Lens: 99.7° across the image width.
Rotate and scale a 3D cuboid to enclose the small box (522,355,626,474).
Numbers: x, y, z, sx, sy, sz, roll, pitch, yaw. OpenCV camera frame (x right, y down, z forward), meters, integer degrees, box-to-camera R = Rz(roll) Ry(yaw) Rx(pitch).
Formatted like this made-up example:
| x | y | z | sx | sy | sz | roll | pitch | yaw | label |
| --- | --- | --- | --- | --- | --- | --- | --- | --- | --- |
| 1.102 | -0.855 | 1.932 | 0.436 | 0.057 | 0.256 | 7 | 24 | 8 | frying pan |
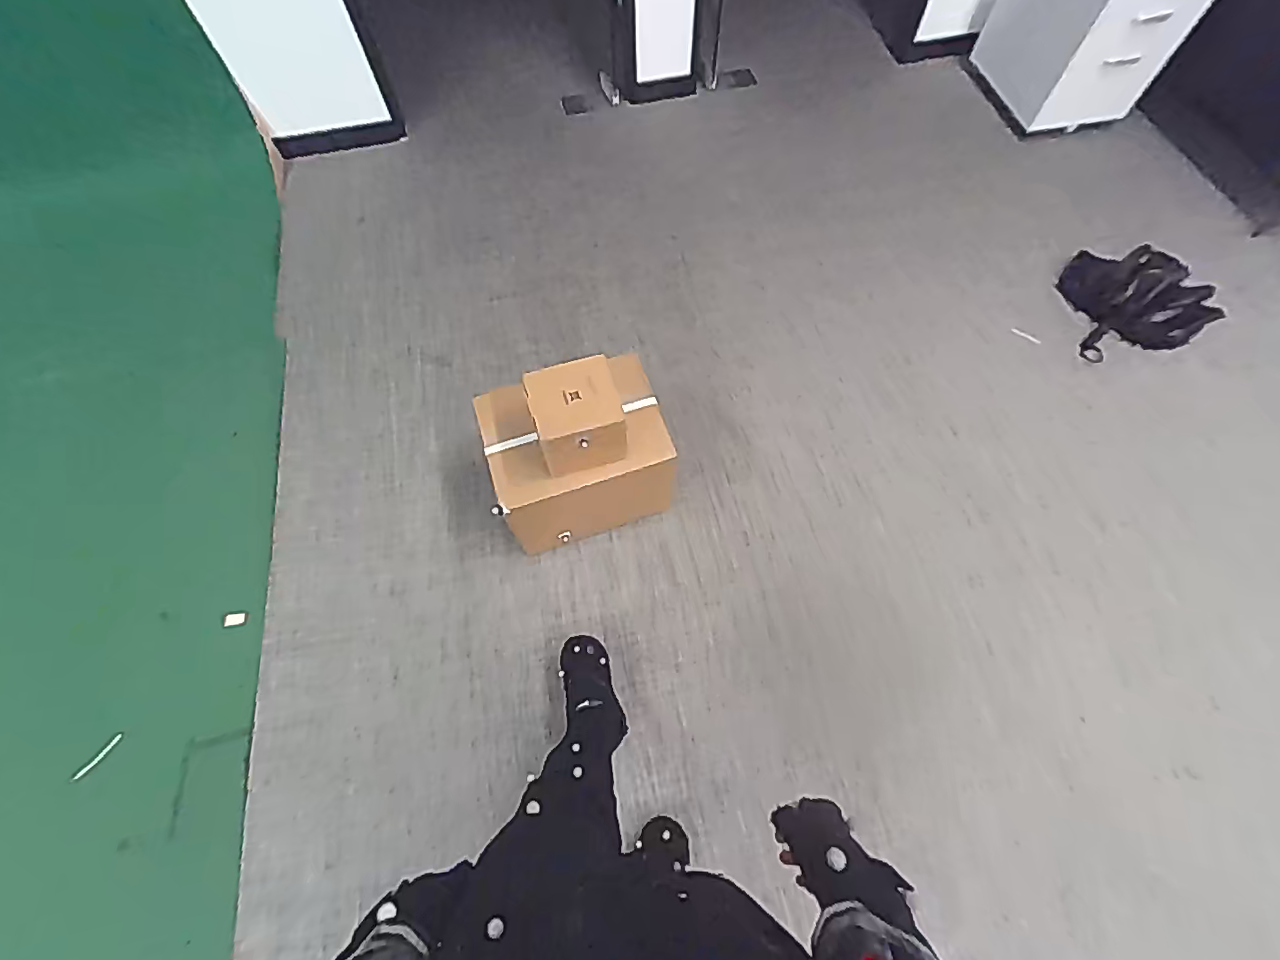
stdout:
| x | y | z | sx | sy | sz | roll | pitch | yaw | label |
| --- | --- | --- | --- | --- | --- | --- | --- | --- | --- |
| -0.133 | -0.130 | 1.137 | 0.179 | 0.176 | 0.168 | -15 | 67 | -8 | small box |
